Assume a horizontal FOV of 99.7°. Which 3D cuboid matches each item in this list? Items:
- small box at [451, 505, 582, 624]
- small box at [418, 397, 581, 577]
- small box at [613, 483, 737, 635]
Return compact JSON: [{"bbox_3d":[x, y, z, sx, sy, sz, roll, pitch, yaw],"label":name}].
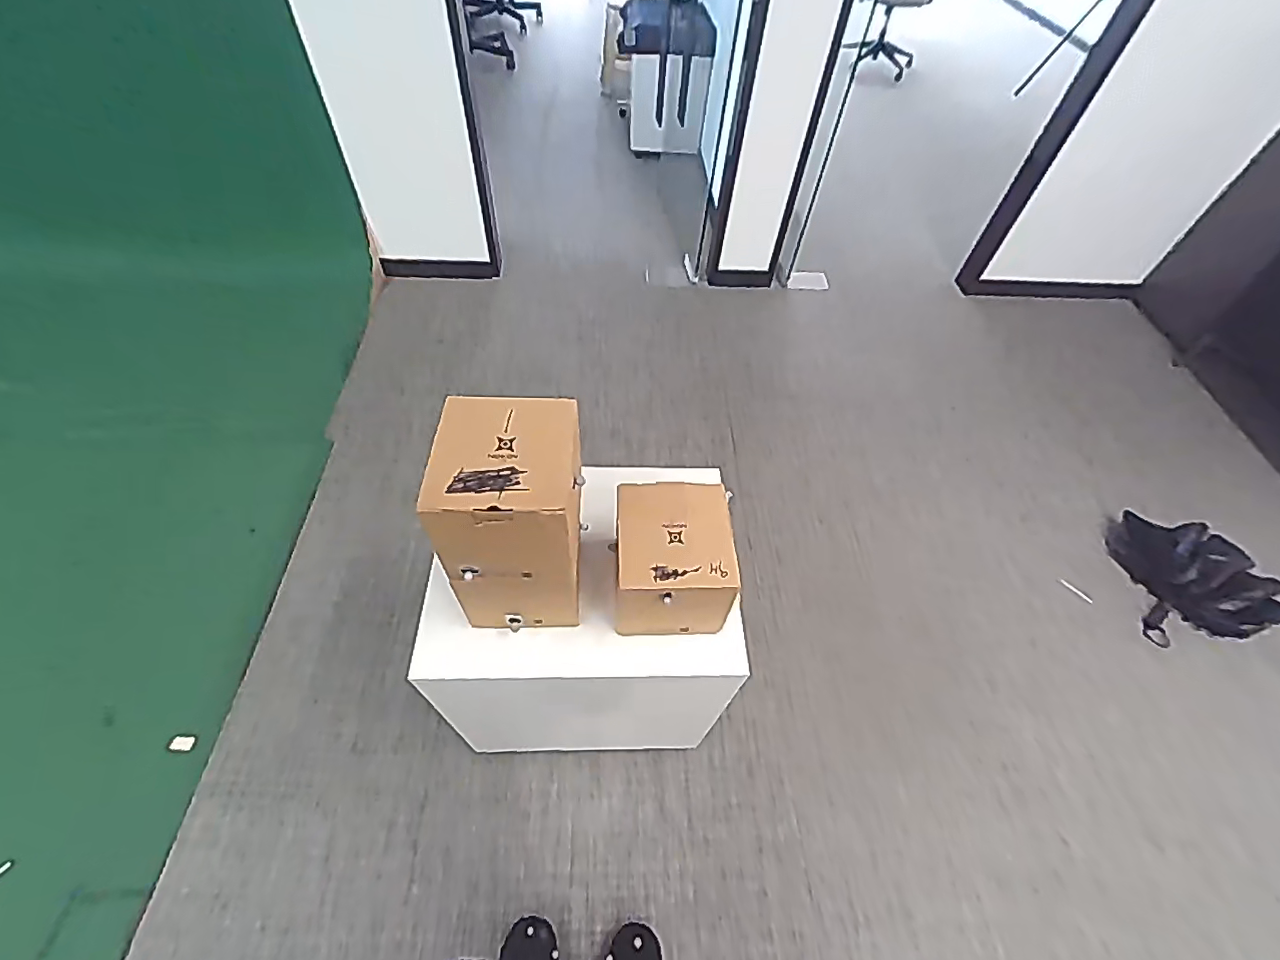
[{"bbox_3d":[-0.175,0.104,0.823,0.168,0.176,0.179,-1,54,-5],"label":"small box"},{"bbox_3d":[-0.166,0.014,0.706,0.168,0.176,0.179,2,51,-3],"label":"small box"},{"bbox_3d":[0.043,0.124,0.841,0.168,0.176,0.179,1,52,-4],"label":"small box"}]
